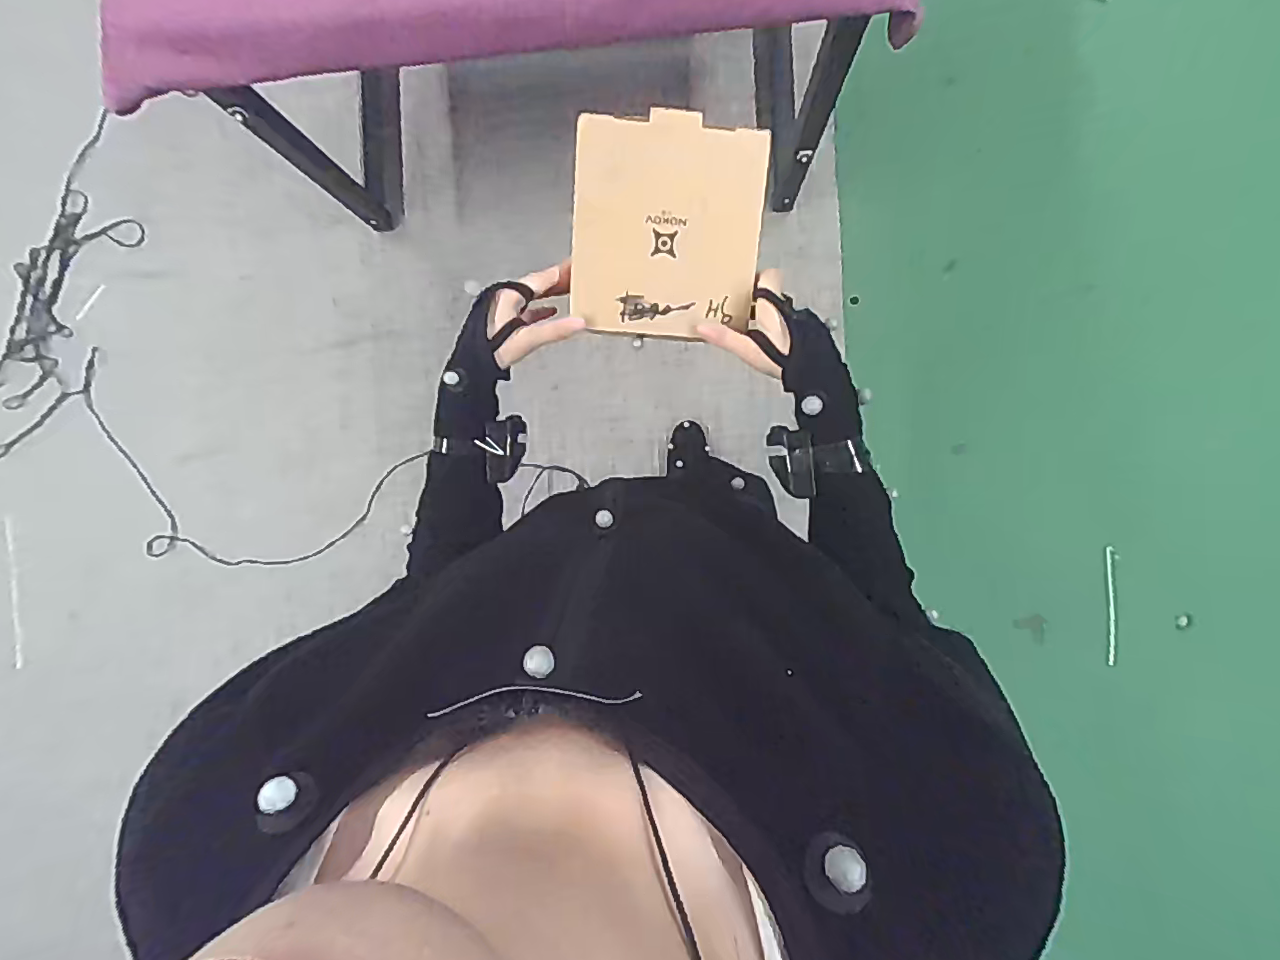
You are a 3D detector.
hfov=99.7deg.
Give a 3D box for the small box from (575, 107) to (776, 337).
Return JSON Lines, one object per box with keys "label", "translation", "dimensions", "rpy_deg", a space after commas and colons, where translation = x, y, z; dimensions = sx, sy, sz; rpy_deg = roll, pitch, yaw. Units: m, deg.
{"label": "small box", "translation": [0.029, -0.243, 0.553], "dimensions": [0.168, 0.176, 0.179], "rpy_deg": [4, 105, 0]}
